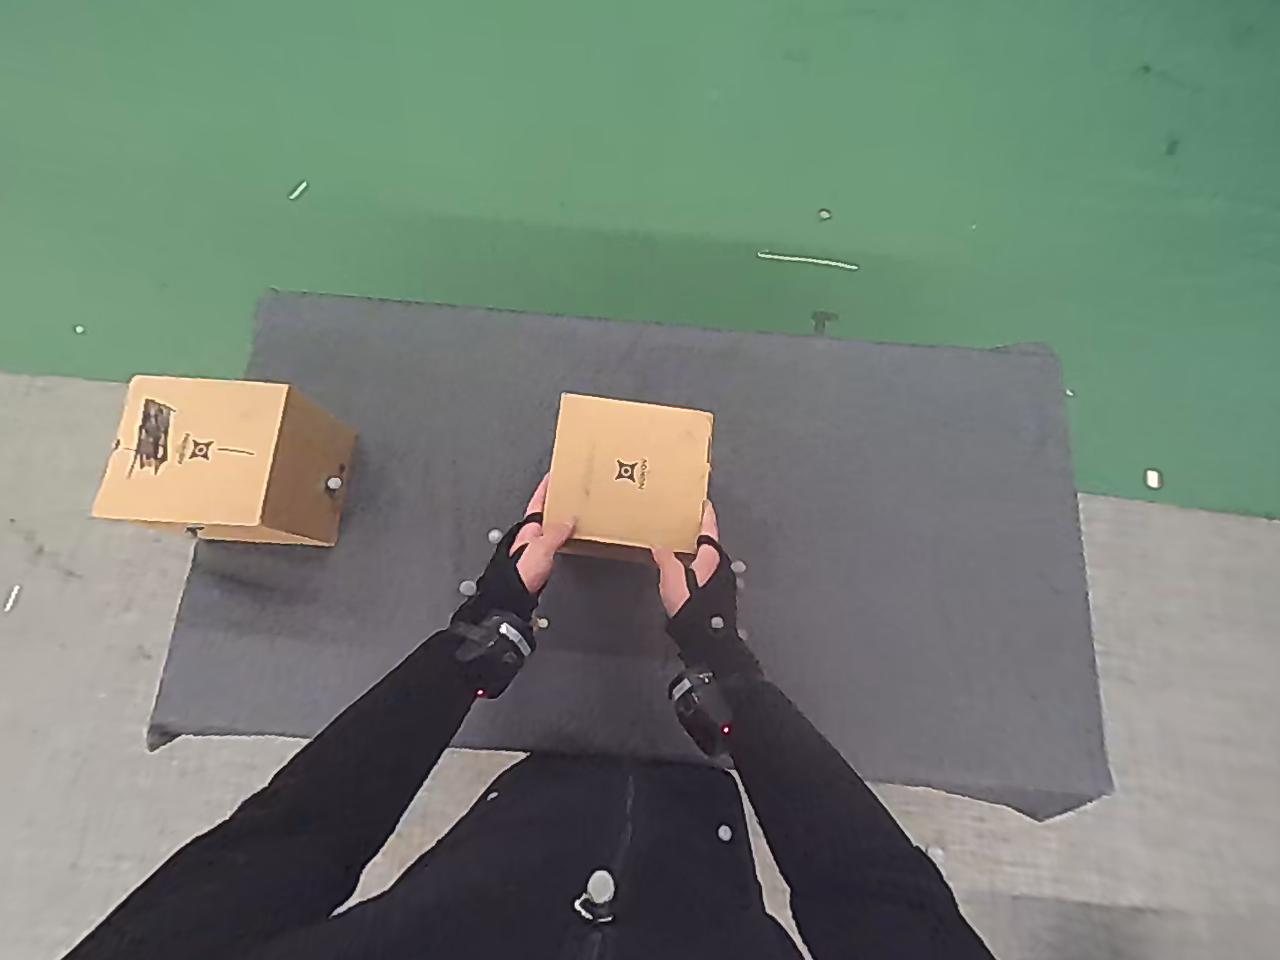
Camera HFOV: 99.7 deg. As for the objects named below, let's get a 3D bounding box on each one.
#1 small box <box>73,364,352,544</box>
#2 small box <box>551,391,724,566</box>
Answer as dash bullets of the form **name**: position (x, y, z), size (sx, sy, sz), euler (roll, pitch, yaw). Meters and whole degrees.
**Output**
- **small box**: position (-0.475, -0.019, 0.635), size (0.179, 0.176, 0.168), euler (4, 75, -4)
- **small box**: position (-0.005, 0.009, 0.660), size (0.179, 0.176, 0.168), euler (6, 74, -3)
